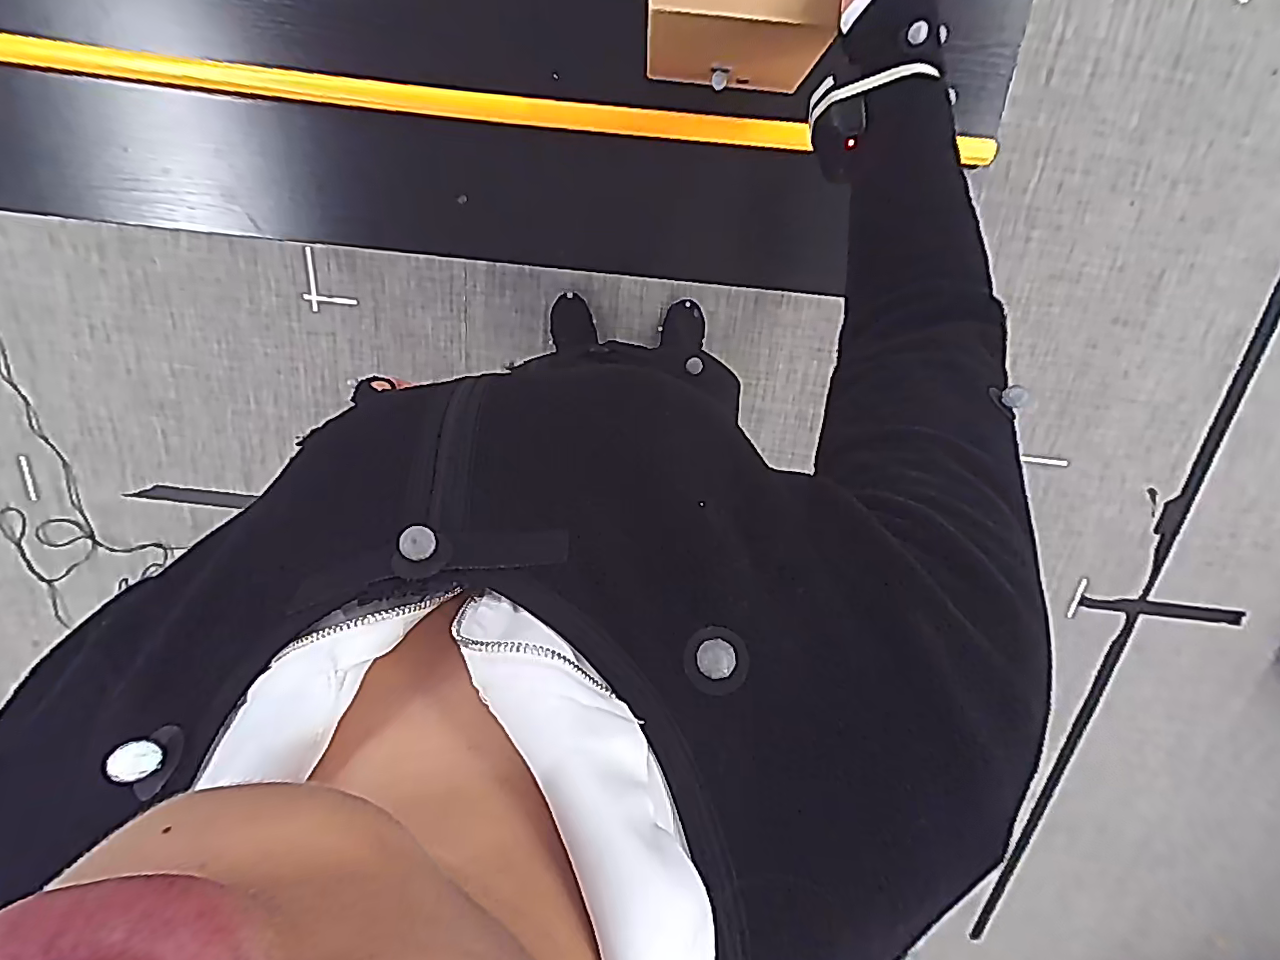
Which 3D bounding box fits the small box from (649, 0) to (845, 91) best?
[{"bbox_3d":[0.098,-0.499,0.501,0.168,0.176,0.179,6,110,-1],"label":"small box"}]
